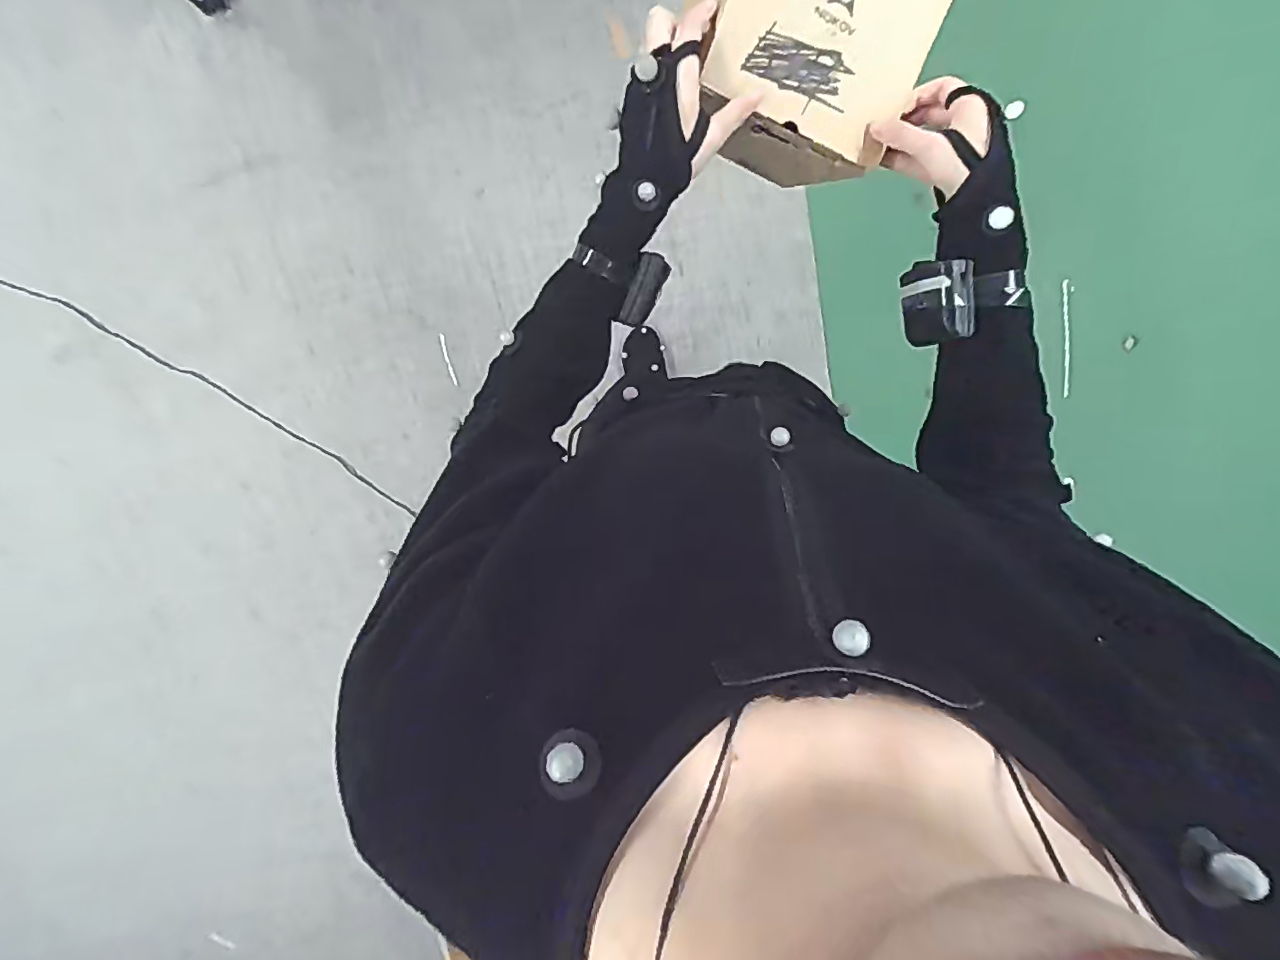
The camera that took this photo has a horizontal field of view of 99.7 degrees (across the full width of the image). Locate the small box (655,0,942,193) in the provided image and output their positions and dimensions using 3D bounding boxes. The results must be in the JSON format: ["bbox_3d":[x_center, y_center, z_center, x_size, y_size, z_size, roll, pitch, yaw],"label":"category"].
[{"bbox_3d":[0.123,-0.376,0.478,0.168,0.176,0.179,16,110,-17],"label":"small box"}]
